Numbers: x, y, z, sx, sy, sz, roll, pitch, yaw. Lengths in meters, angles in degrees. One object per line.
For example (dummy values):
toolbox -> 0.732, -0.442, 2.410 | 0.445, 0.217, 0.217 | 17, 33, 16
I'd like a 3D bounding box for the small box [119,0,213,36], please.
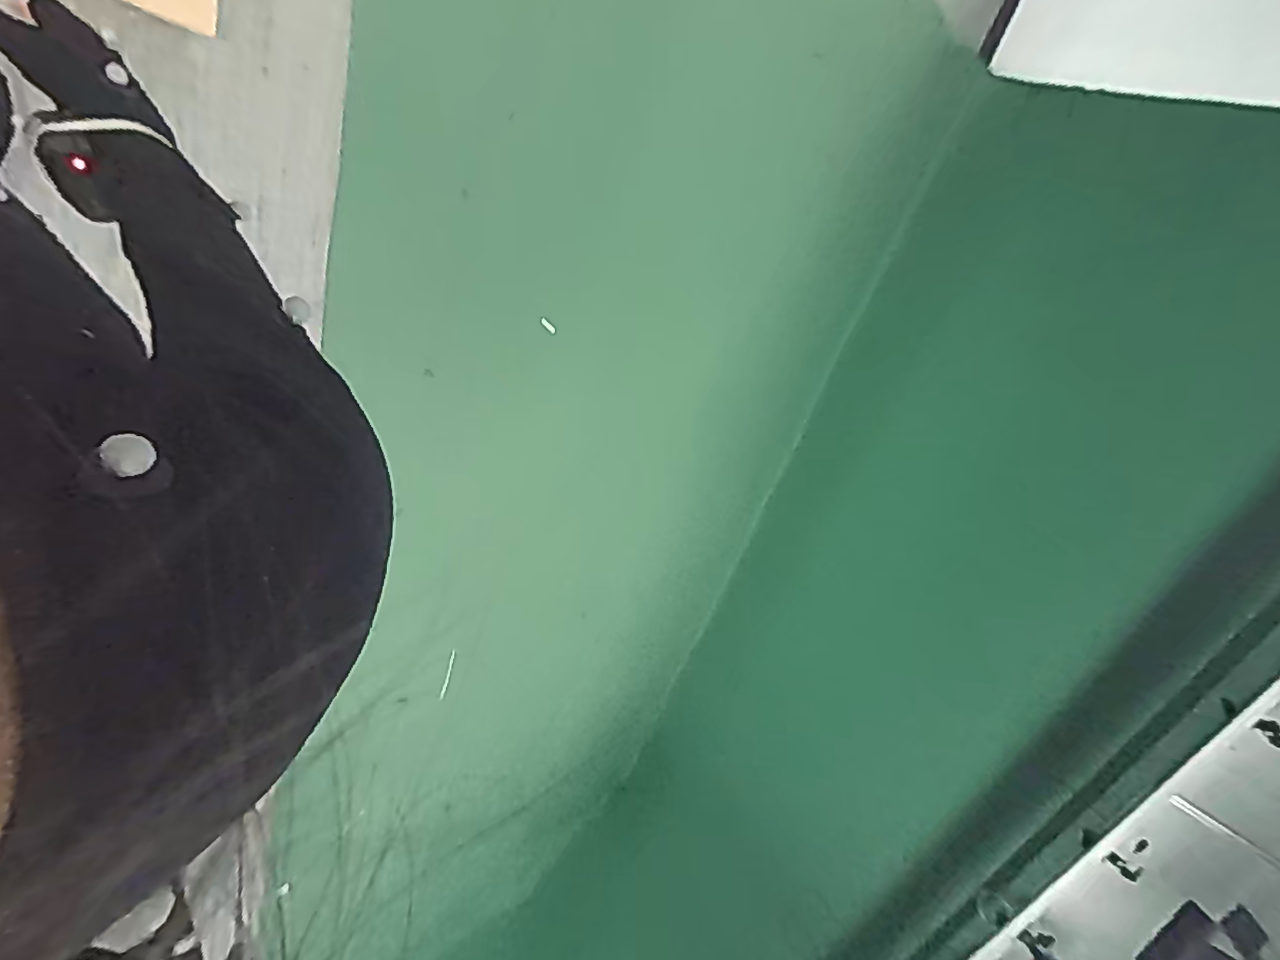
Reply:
small box -> -0.757, -0.810, 0.805 | 0.168, 0.176, 0.179 | -8, 126, -50
